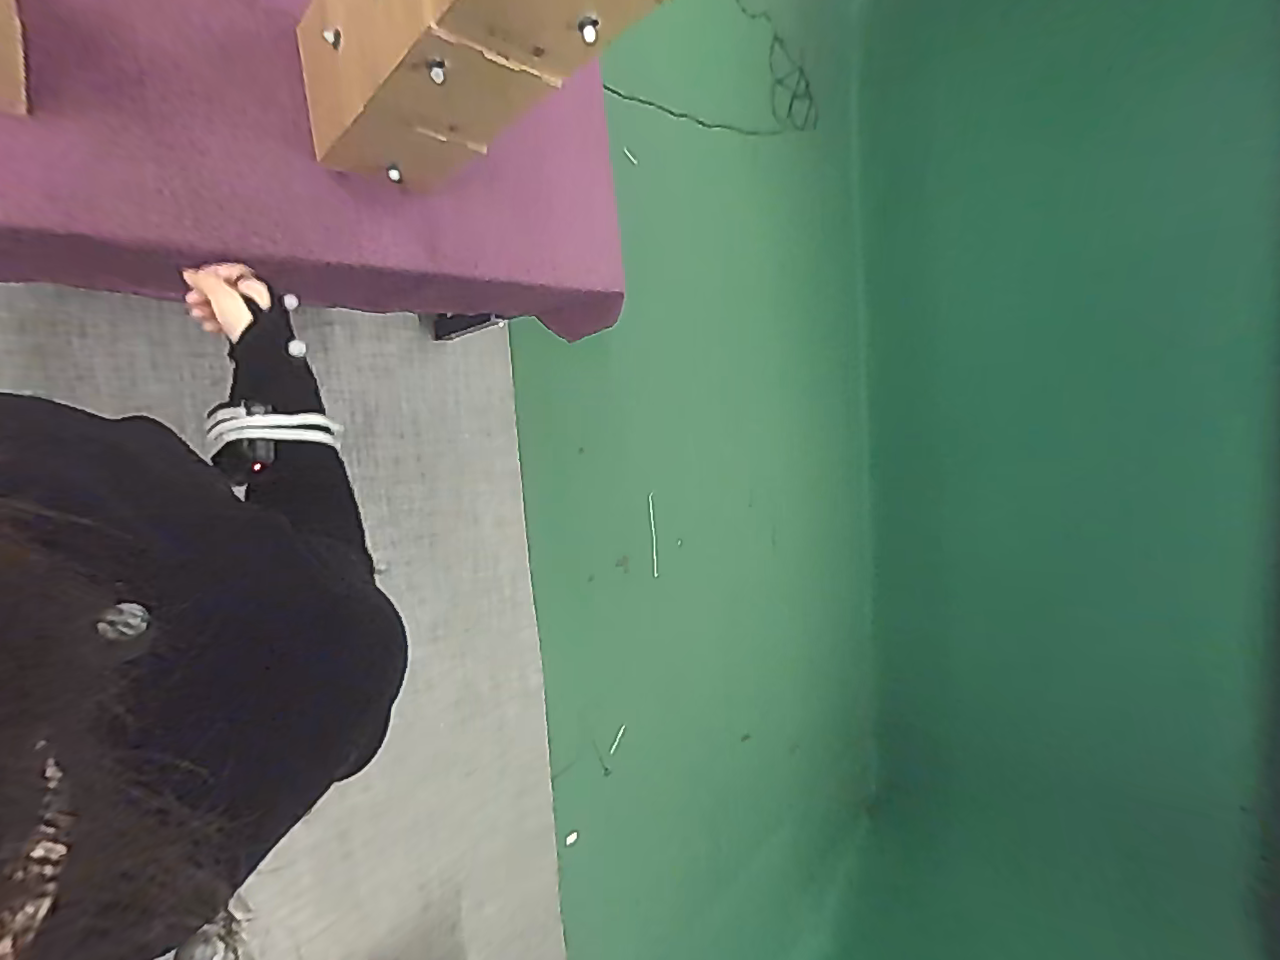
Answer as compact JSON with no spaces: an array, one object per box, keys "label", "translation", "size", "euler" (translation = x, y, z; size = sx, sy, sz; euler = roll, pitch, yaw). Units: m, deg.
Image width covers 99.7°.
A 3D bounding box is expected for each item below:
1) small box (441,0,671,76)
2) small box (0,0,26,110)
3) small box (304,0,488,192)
[{"label":"small box","translation":[-0.090,-0.527,0.502],"size":[0.168,0.176,0.179],"euler":[-16,101,-46]},{"label":"small box","translation":[-0.618,-0.430,0.416],"size":[0.168,0.176,0.179],"euler":[-16,102,-46]},{"label":"small box","translation":[-0.329,-0.522,0.727],"size":[0.168,0.176,0.179],"euler":[-12,99,-46]}]
